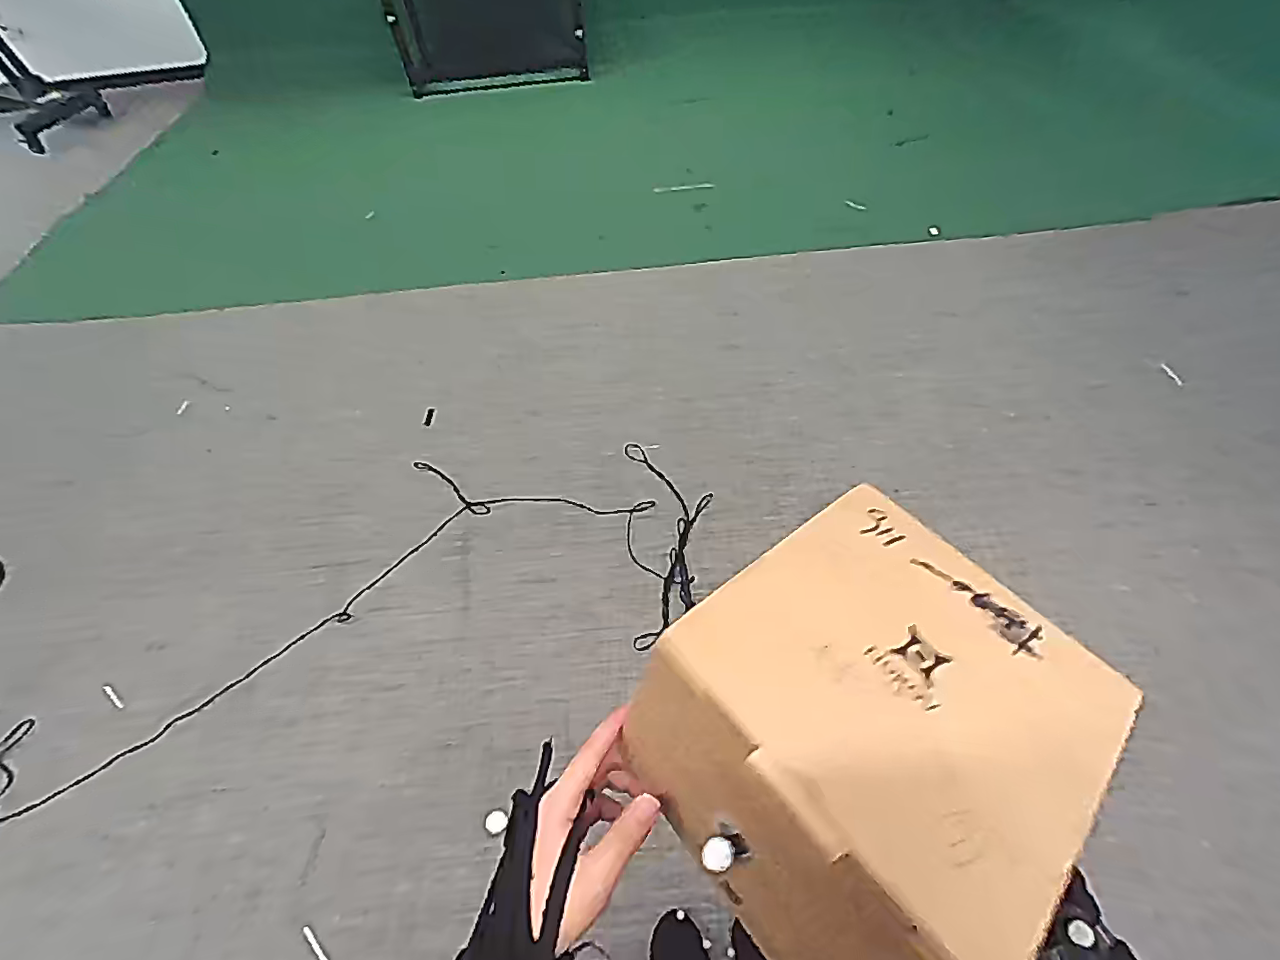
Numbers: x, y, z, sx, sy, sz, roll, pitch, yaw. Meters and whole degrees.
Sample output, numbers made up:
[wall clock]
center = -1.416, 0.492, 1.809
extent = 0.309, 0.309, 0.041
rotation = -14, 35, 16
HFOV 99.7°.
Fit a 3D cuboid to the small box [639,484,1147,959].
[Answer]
[small box]
center = 0.114, 0.140, 0.307
extent = 0.179, 0.176, 0.168
rotation = -28, 59, -32
